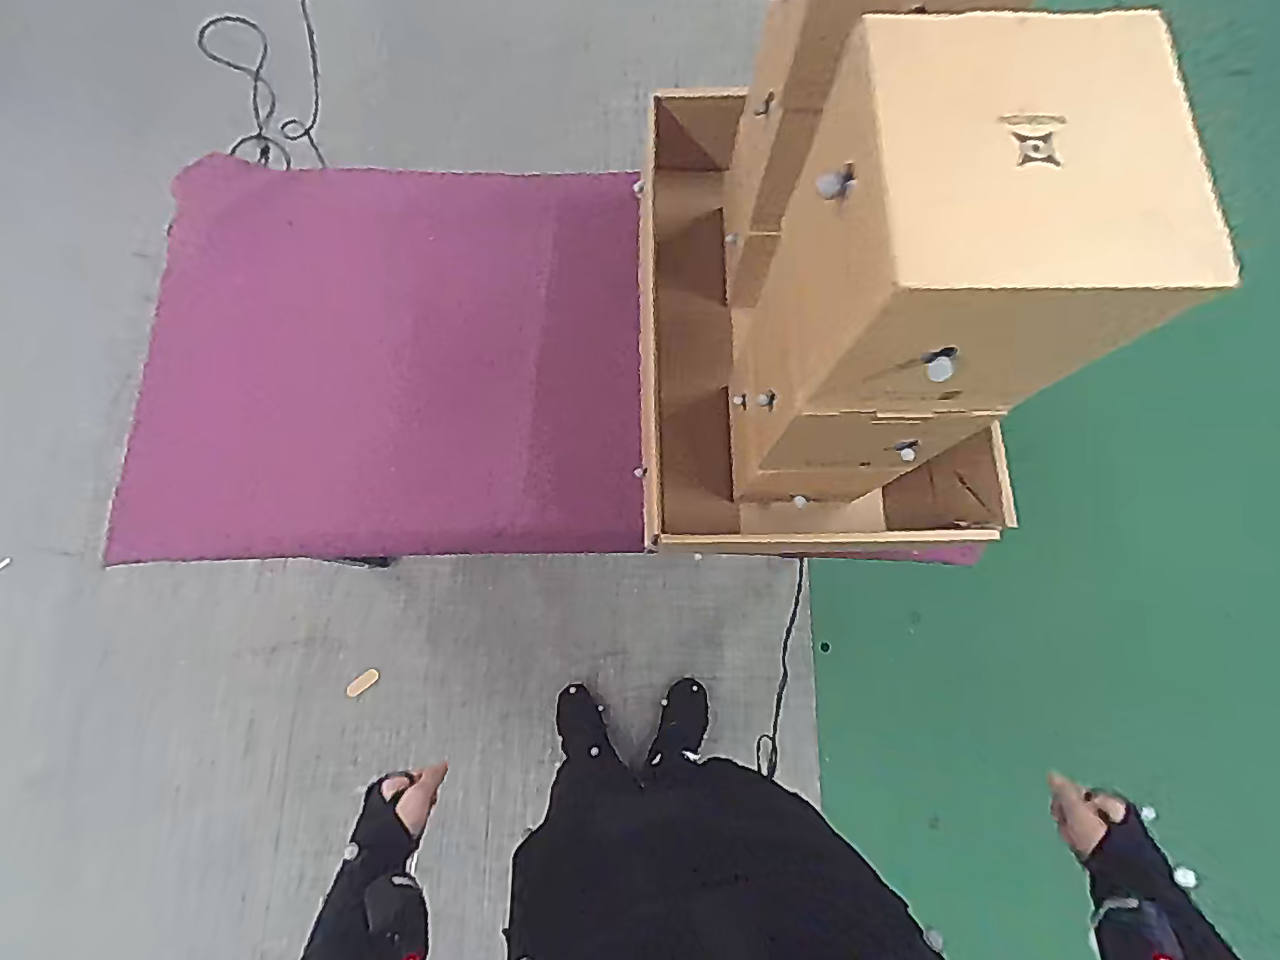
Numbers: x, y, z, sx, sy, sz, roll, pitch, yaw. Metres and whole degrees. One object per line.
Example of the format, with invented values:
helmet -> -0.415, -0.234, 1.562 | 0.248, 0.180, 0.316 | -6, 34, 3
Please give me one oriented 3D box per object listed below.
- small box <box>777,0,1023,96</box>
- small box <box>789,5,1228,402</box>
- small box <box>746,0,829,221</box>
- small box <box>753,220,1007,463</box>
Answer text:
small box -> 0.209, -0.432, 0.422 | 0.168, 0.176, 0.179 | 2, 79, 1
small box -> 0.204, -0.159, 0.359 | 0.168, 0.176, 0.179 | 0, 75, 1
small box -> 0.212, -0.399, 0.582 | 0.168, 0.176, 0.179 | 2, 77, 0
small box -> 0.206, -0.118, 0.516 | 0.168, 0.176, 0.179 | 0, 75, 1
